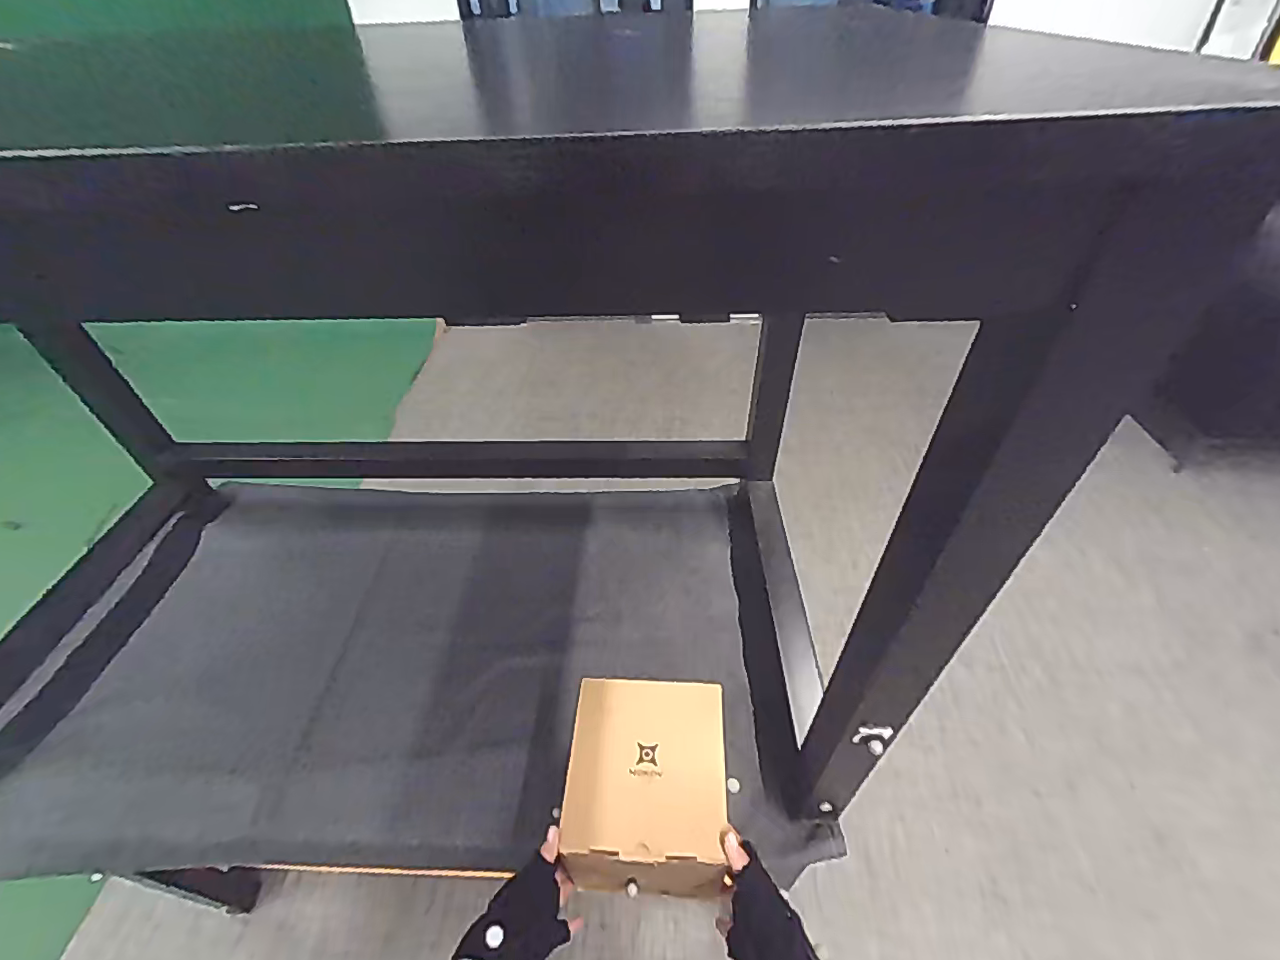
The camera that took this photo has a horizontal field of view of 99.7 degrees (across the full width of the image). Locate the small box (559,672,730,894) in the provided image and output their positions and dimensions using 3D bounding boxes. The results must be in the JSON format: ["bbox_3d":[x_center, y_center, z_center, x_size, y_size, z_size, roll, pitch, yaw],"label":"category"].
[{"bbox_3d":[0.011,0.346,0.623,0.168,0.176,0.179,0,43,4],"label":"small box"}]
